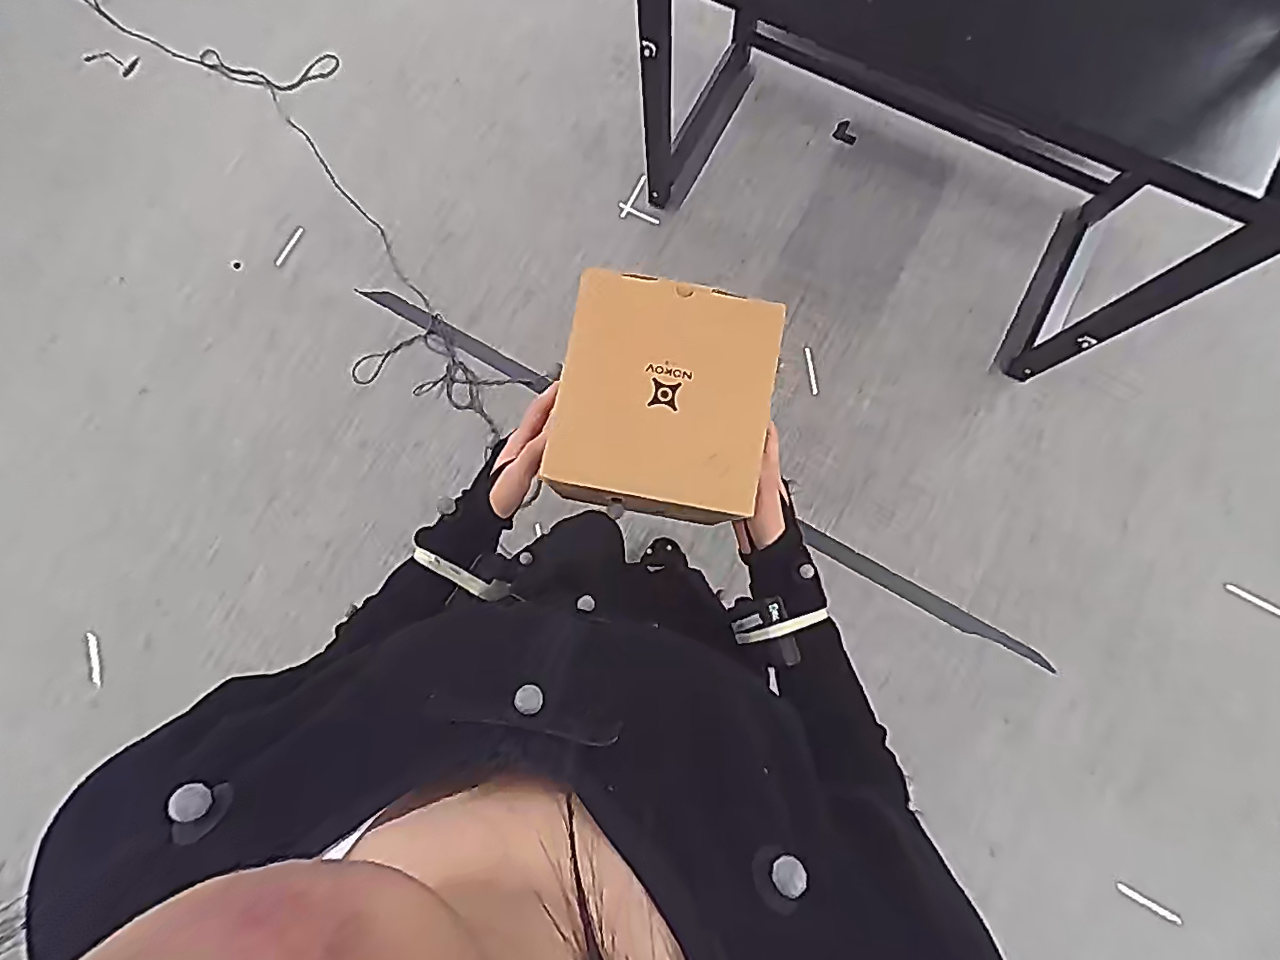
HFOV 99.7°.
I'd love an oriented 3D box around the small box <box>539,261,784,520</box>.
[{"bbox_3d":[0.017,-0.064,0.493,0.168,0.176,0.179,11,82,-1],"label":"small box"}]
